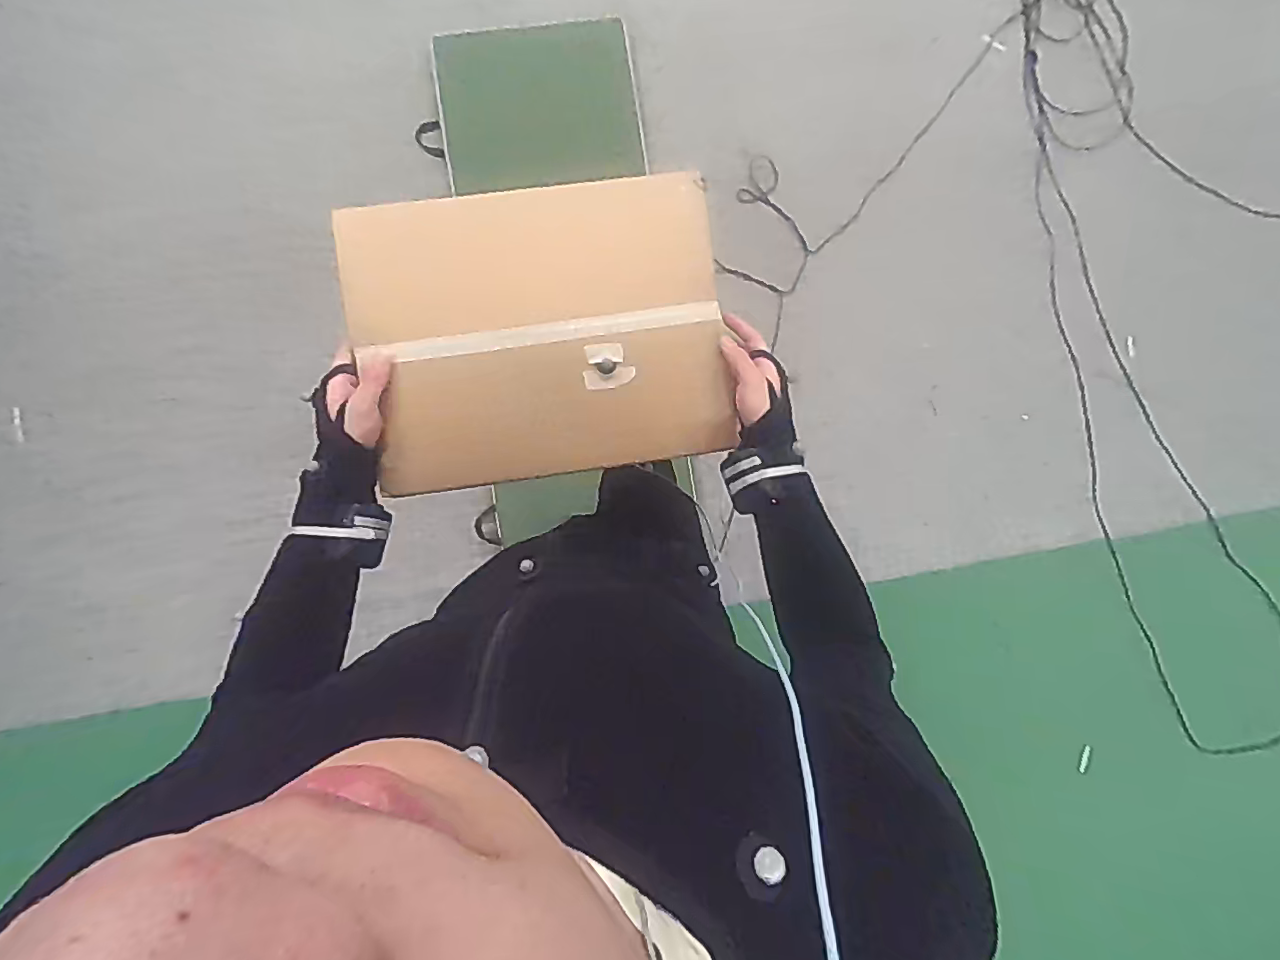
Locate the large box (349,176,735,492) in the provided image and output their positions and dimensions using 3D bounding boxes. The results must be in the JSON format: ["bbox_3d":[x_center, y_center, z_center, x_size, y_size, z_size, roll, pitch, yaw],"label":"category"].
[{"bbox_3d":[-0.117,-0.173,0.763,0.408,0.320,0.320,-8,94,-4],"label":"large box"}]
